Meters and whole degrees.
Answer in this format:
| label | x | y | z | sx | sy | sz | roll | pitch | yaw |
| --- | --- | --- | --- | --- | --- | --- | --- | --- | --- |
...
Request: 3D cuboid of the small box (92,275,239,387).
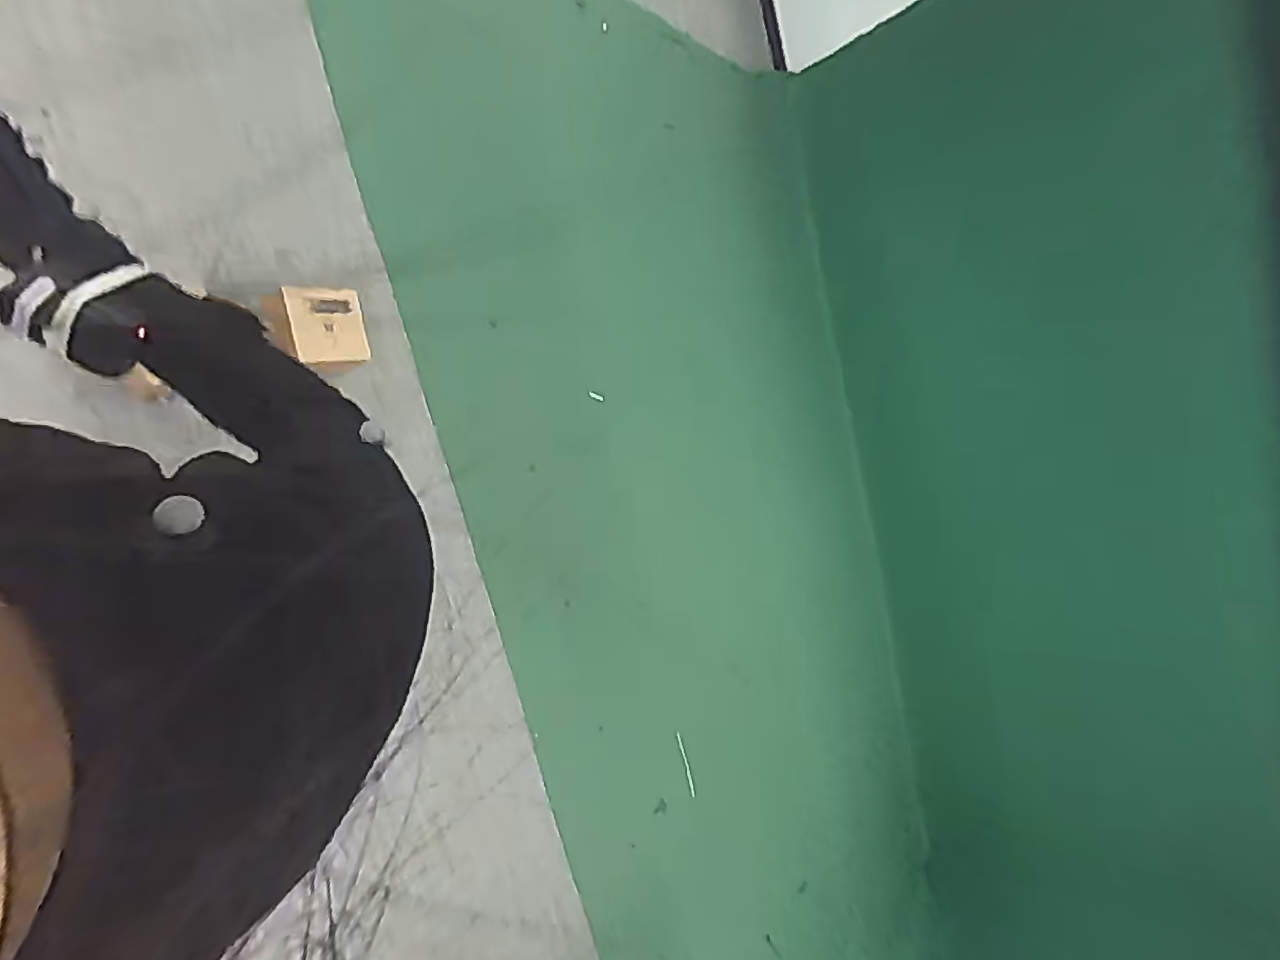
| label | x | y | z | sx | sy | sz | roll | pitch | yaw |
| --- | --- | --- | --- | --- | --- | --- | --- | --- | --- |
| small box | -0.971 | -0.299 | 1.109 | 0.168 | 0.176 | 0.179 | -35 | 110 | -45 |
